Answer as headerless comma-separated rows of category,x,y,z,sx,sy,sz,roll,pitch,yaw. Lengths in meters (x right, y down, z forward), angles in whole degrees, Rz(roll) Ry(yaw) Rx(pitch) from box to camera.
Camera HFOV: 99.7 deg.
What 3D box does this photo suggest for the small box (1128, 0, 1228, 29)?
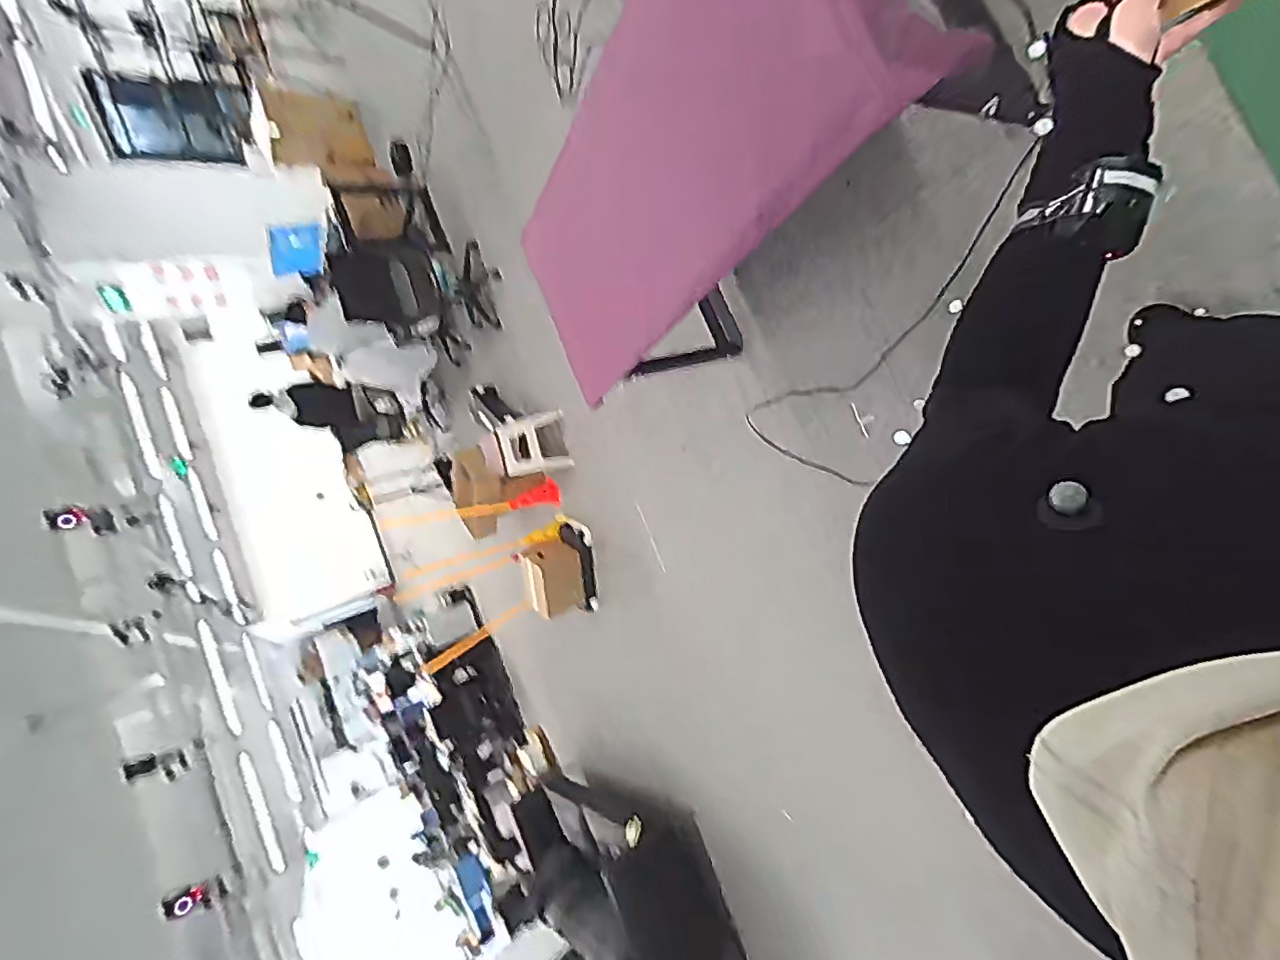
small box,0.473,-0.466,0.372,0.168,0.176,0.179,15,131,63
